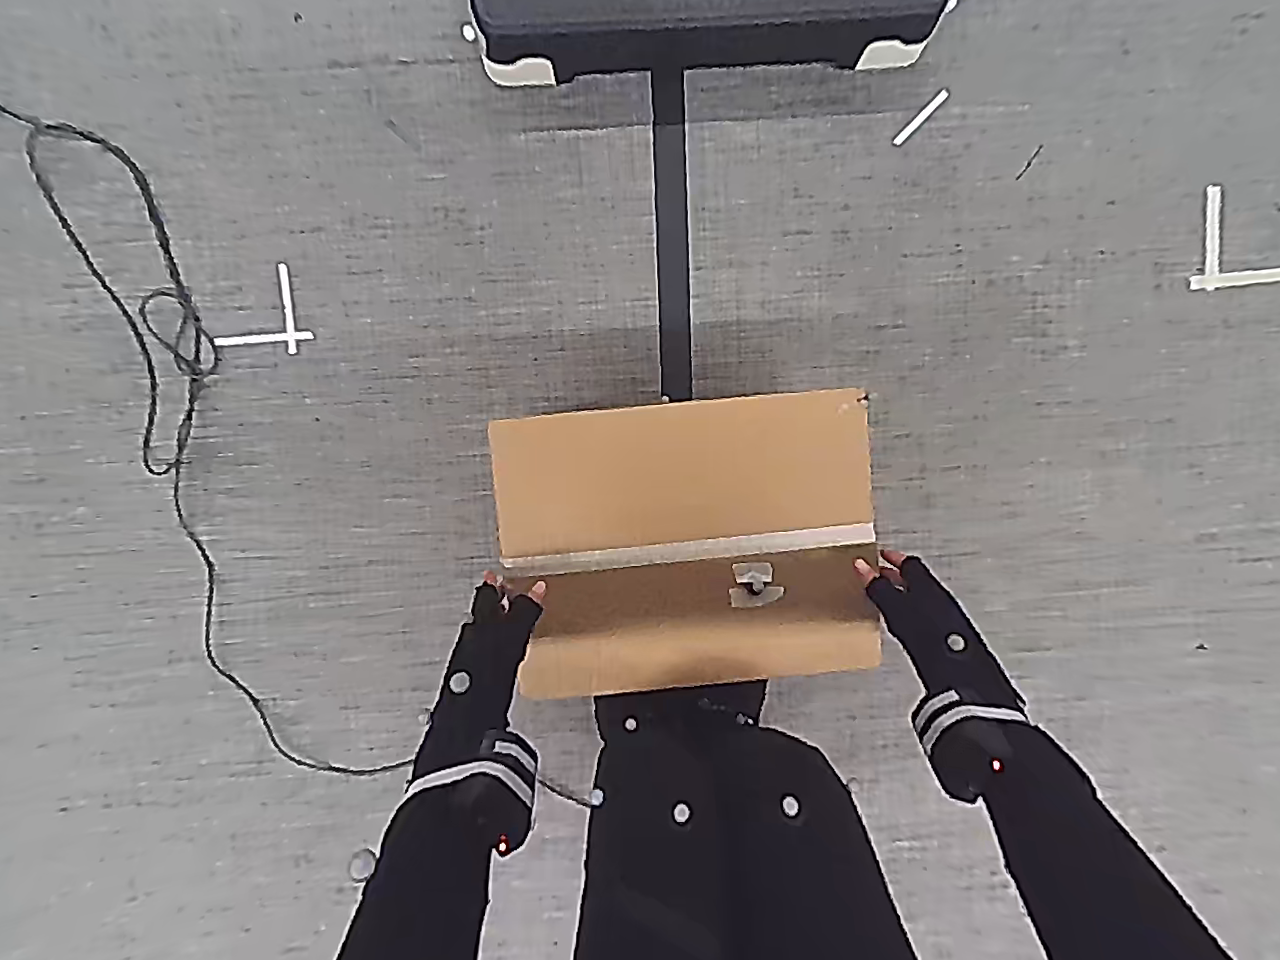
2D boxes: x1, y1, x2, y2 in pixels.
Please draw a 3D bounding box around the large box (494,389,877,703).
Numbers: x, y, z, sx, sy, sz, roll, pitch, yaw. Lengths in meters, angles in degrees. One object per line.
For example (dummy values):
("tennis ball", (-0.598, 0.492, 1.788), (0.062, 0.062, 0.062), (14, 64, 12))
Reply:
("large box", (0.049, 0.064, 0.744), (0.408, 0.320, 0.320), (-6, 96, -1))
